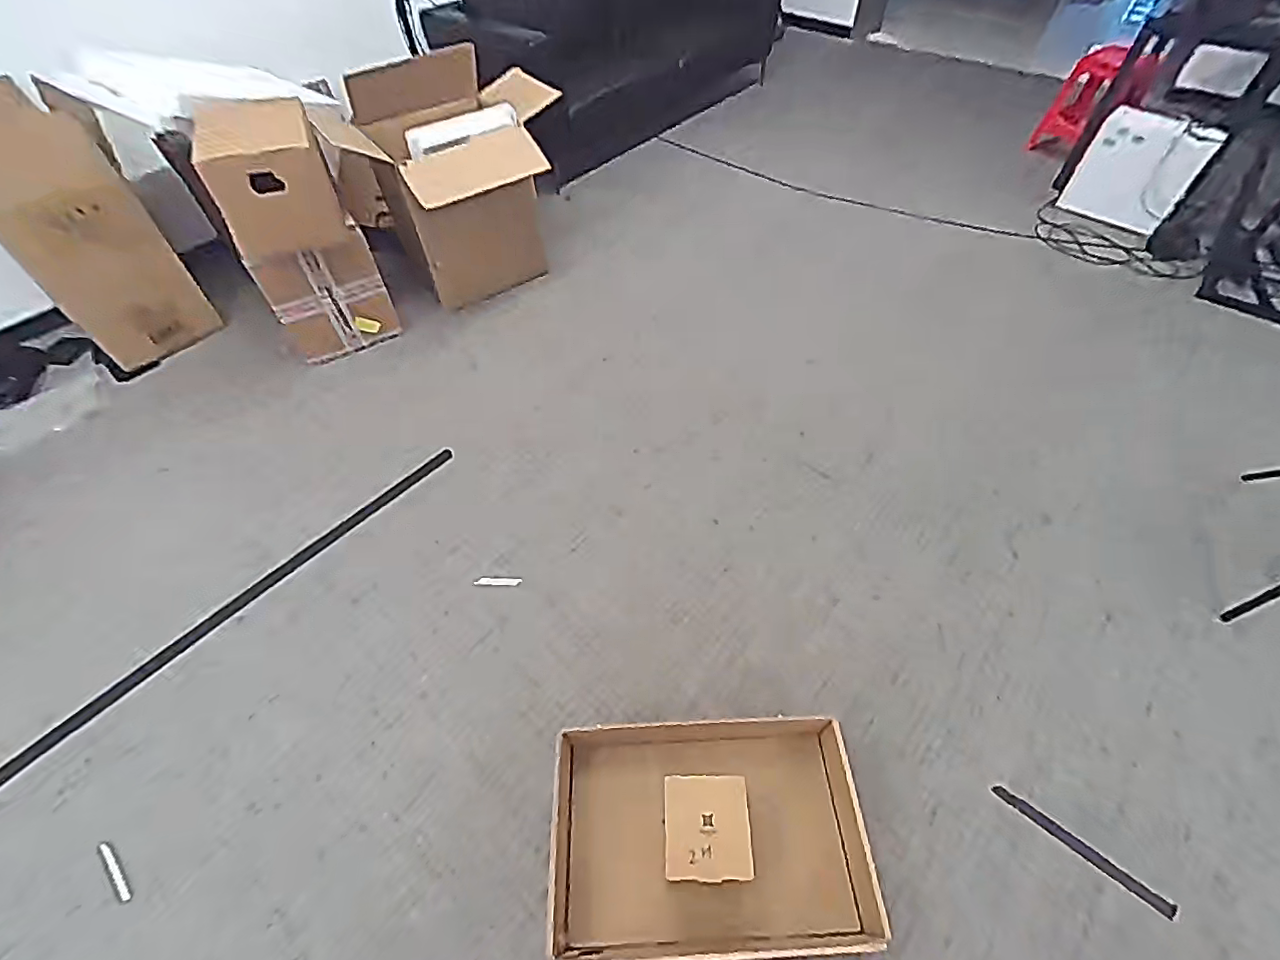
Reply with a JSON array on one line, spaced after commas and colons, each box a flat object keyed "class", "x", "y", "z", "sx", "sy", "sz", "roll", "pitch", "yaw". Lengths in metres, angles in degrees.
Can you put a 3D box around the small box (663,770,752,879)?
[{"class": "small box", "x": 0.131, "y": 0.712, "z": 1.116, "sx": 0.168, "sy": 0.176, "sz": 0.179, "roll": -1, "pitch": 53, "yaw": 2}]
